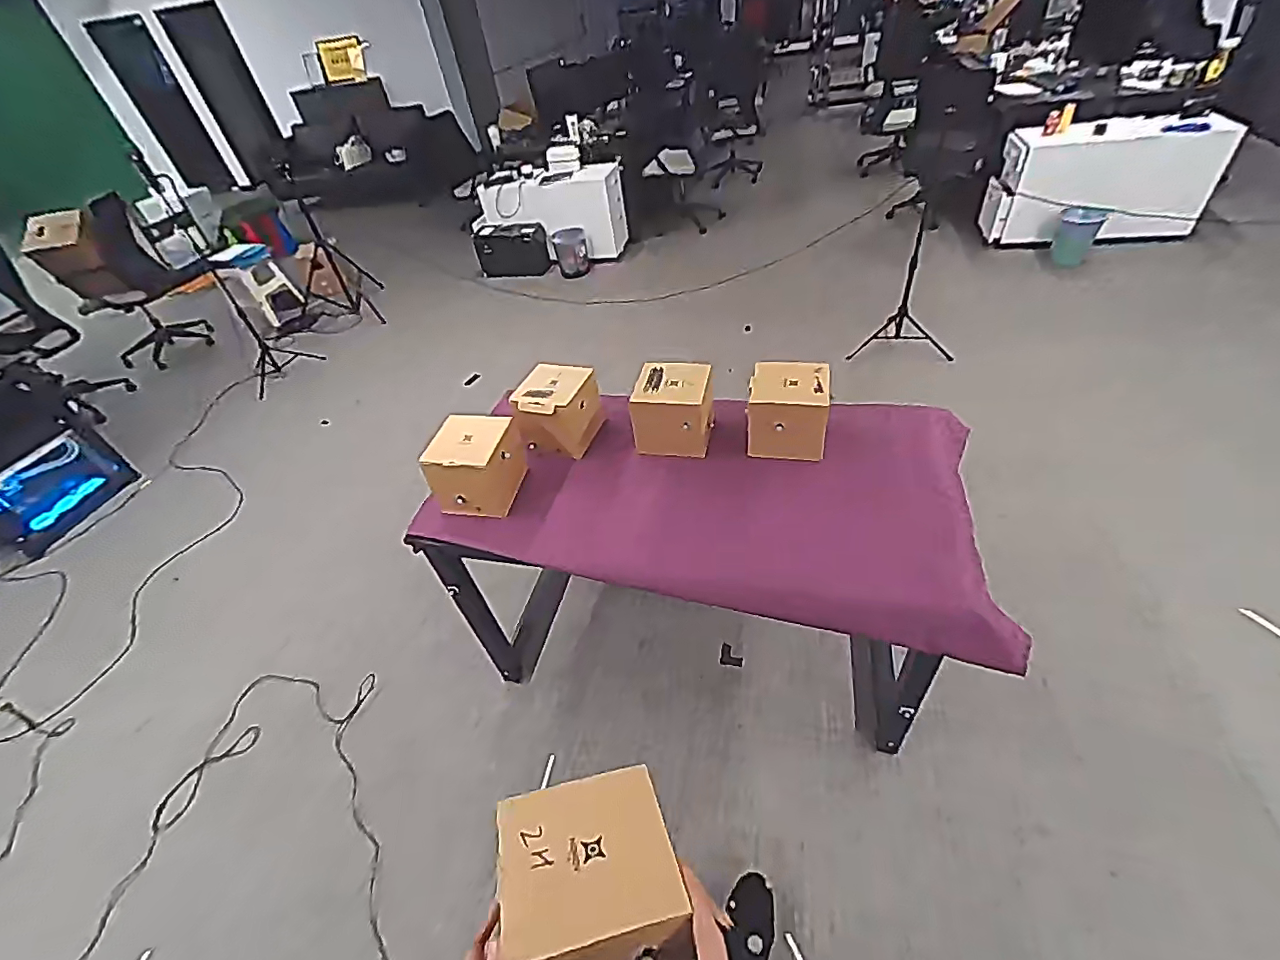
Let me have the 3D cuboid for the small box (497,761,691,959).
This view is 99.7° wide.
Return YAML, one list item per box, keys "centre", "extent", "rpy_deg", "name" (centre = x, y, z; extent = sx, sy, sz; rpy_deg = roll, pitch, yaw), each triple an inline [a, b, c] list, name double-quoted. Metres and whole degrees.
- centre: [-0.053, 0.445, 0.575]
  extent: [0.179, 0.176, 0.168]
  rpy_deg: [-8, 22, -12]
  name: "small box"

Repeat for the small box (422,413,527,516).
- centre: [-0.383, -0.038, 1.293]
  extent: [0.168, 0.176, 0.179]
  rpy_deg: [3, 45, 11]
  name: "small box"

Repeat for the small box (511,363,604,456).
- centre: [-0.205, -0.185, 1.417]
  extent: [0.168, 0.176, 0.179]
  rpy_deg: [10, 47, 19]
  name: "small box"
